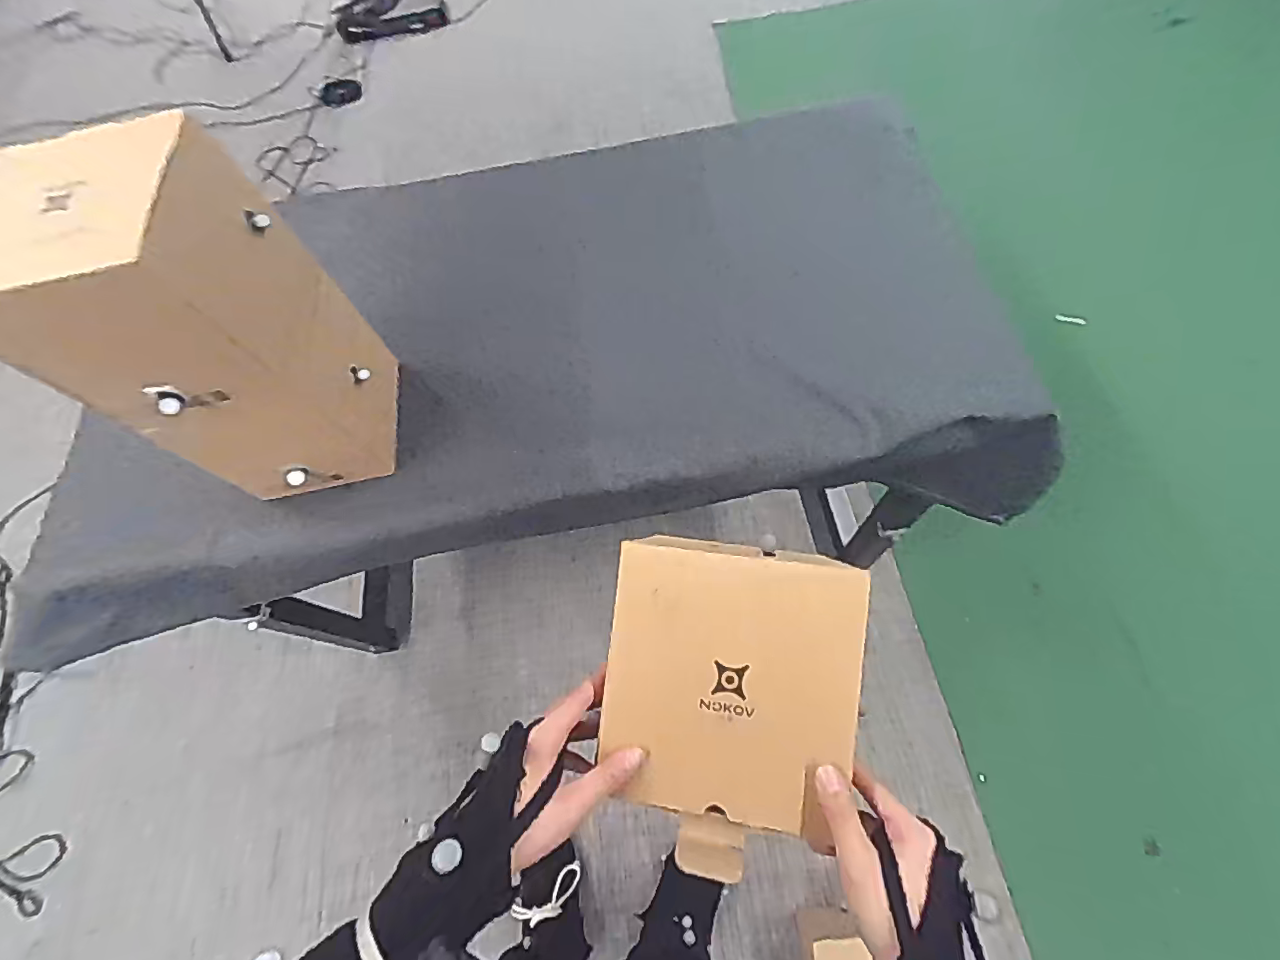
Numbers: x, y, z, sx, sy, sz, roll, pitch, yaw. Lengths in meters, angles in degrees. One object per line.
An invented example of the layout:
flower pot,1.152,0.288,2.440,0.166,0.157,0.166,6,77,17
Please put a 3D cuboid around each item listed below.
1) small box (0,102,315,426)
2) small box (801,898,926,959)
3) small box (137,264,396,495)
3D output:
small box,-0.411,-0.172,0.464,0.168,0.176,0.179,-12,65,2
small box,0.376,0.828,0.903,0.179,0.176,0.168,-9,65,3
small box,-0.395,-0.105,0.610,0.168,0.176,0.179,-12,65,1
